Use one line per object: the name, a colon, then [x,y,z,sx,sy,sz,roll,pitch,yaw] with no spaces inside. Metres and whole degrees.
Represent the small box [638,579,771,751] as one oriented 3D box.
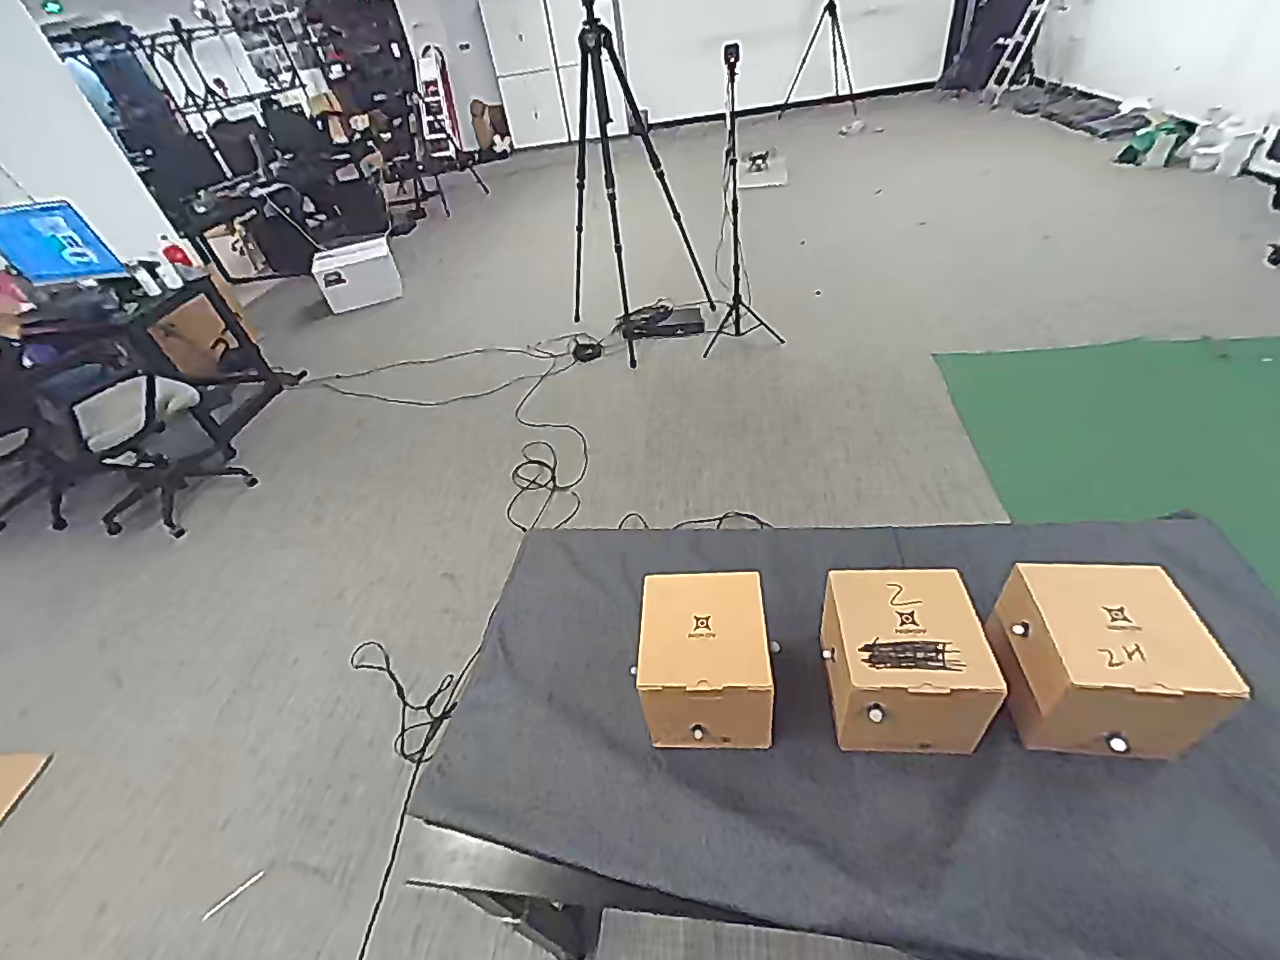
small box: [0.093,0.261,0.773,0.168,0.176,0.179,-3,42,8]
